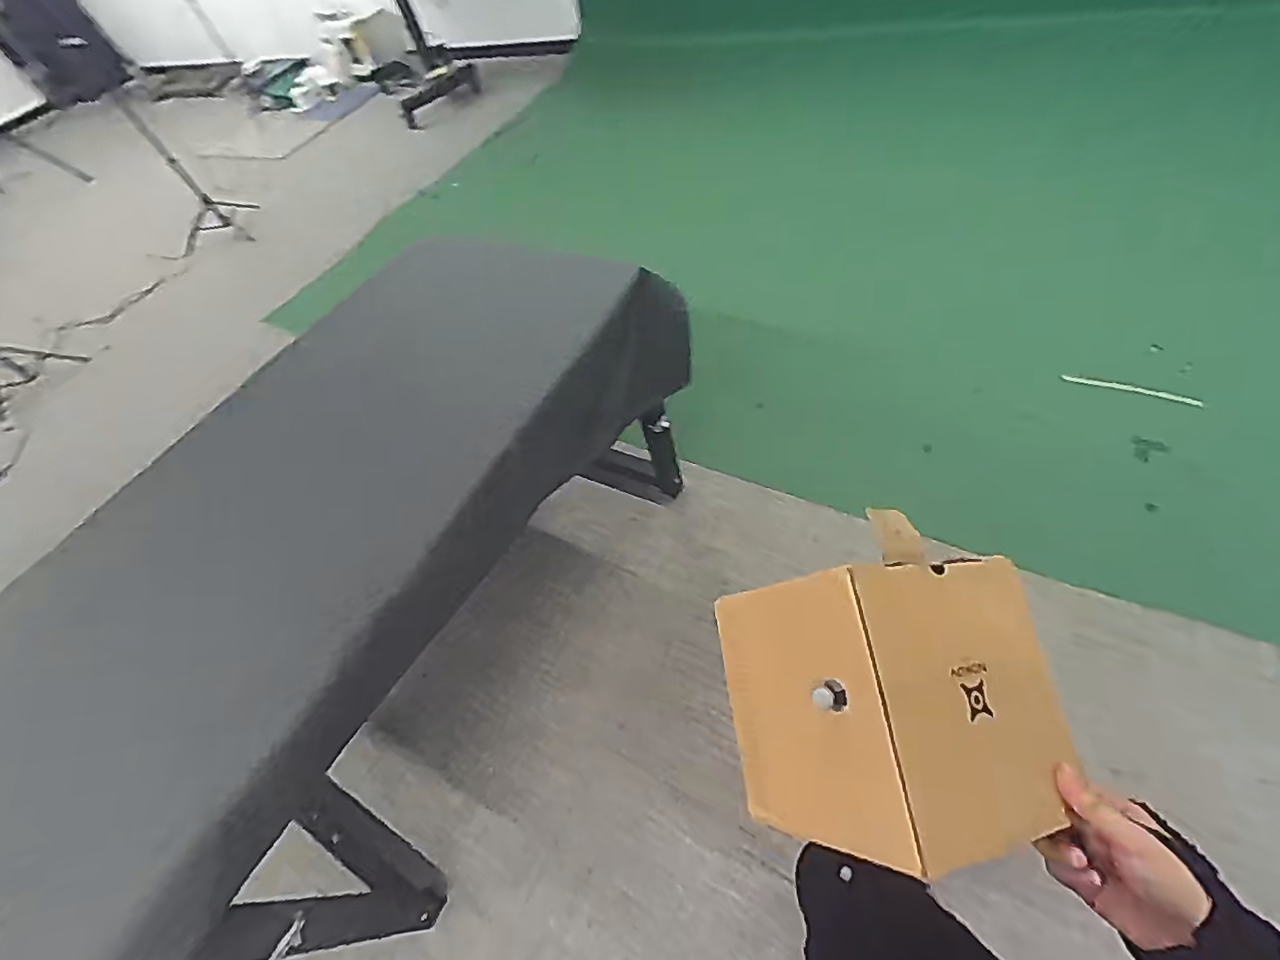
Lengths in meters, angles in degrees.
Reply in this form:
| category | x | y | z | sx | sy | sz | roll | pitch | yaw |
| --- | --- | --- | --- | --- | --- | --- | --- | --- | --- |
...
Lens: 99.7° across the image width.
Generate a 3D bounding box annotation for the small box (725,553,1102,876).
| category | x | y | z | sx | sy | sz | roll | pitch | yaw |
| --- | --- | --- | --- | --- | --- | --- | --- | --- | --- |
| small box | 0.185 | 0.161 | 0.415 | 0.168 | 0.176 | 0.179 | 2 | 68 | -24 |
